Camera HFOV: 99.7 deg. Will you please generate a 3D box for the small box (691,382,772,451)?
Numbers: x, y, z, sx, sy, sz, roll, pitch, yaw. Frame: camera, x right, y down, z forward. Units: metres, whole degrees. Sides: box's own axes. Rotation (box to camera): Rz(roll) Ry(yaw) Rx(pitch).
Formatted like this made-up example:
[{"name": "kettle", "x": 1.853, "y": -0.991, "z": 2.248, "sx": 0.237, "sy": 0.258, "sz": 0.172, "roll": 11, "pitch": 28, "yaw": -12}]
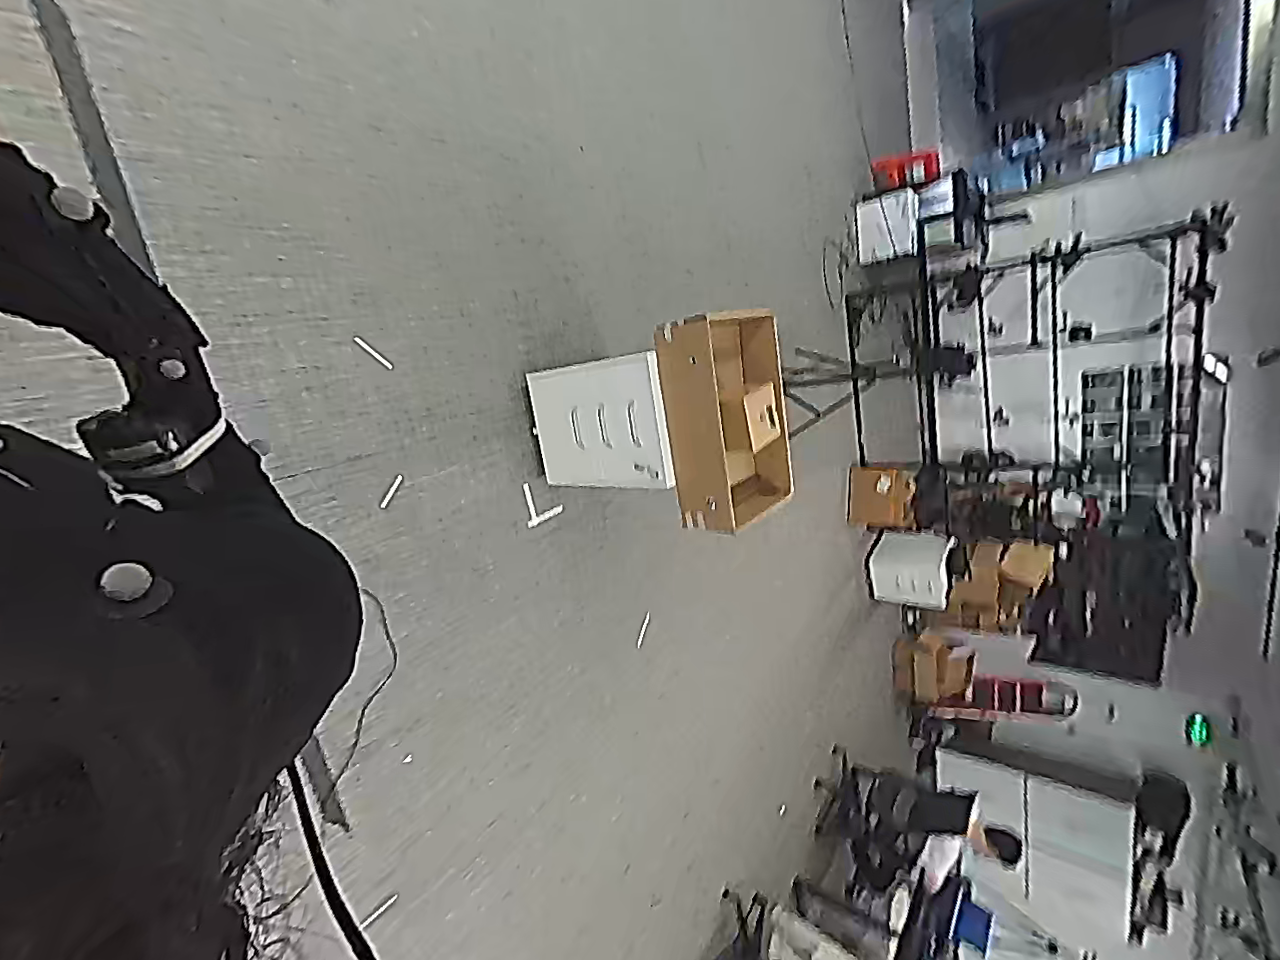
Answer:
[{"name": "small box", "x": 0.280, "y": -0.195, "z": 1.656, "sx": 0.179, "sy": 0.176, "sz": 0.168, "roll": -32, "pitch": 114, "yaw": -43}]
